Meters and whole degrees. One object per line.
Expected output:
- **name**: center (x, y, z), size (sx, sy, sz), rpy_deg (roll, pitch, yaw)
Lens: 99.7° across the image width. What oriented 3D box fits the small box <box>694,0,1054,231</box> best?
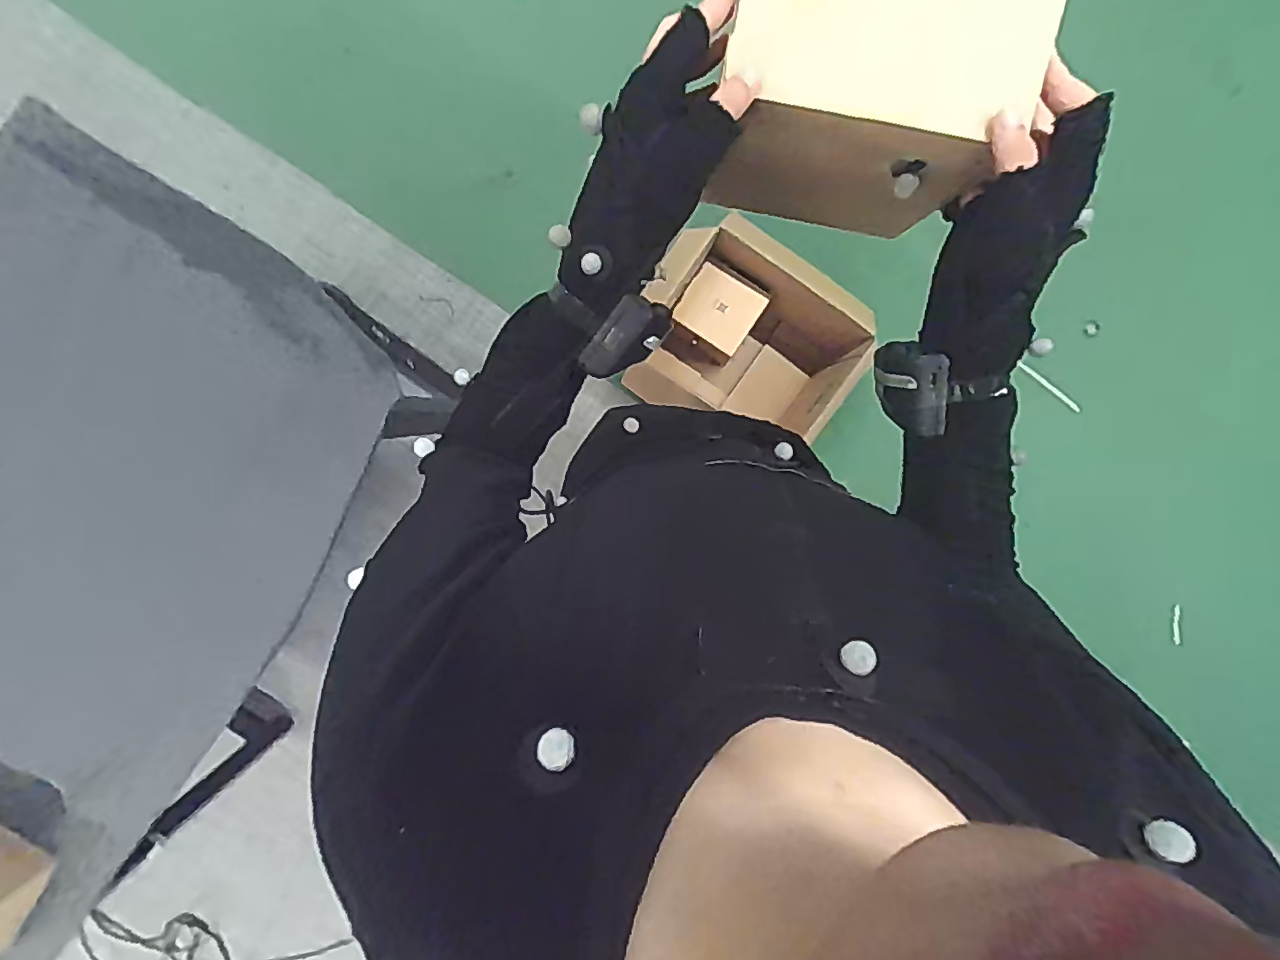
- **small box**: center (0.140, -0.286, 0.367), size (0.179, 0.176, 0.168), rpy_deg (11, 99, 1)
